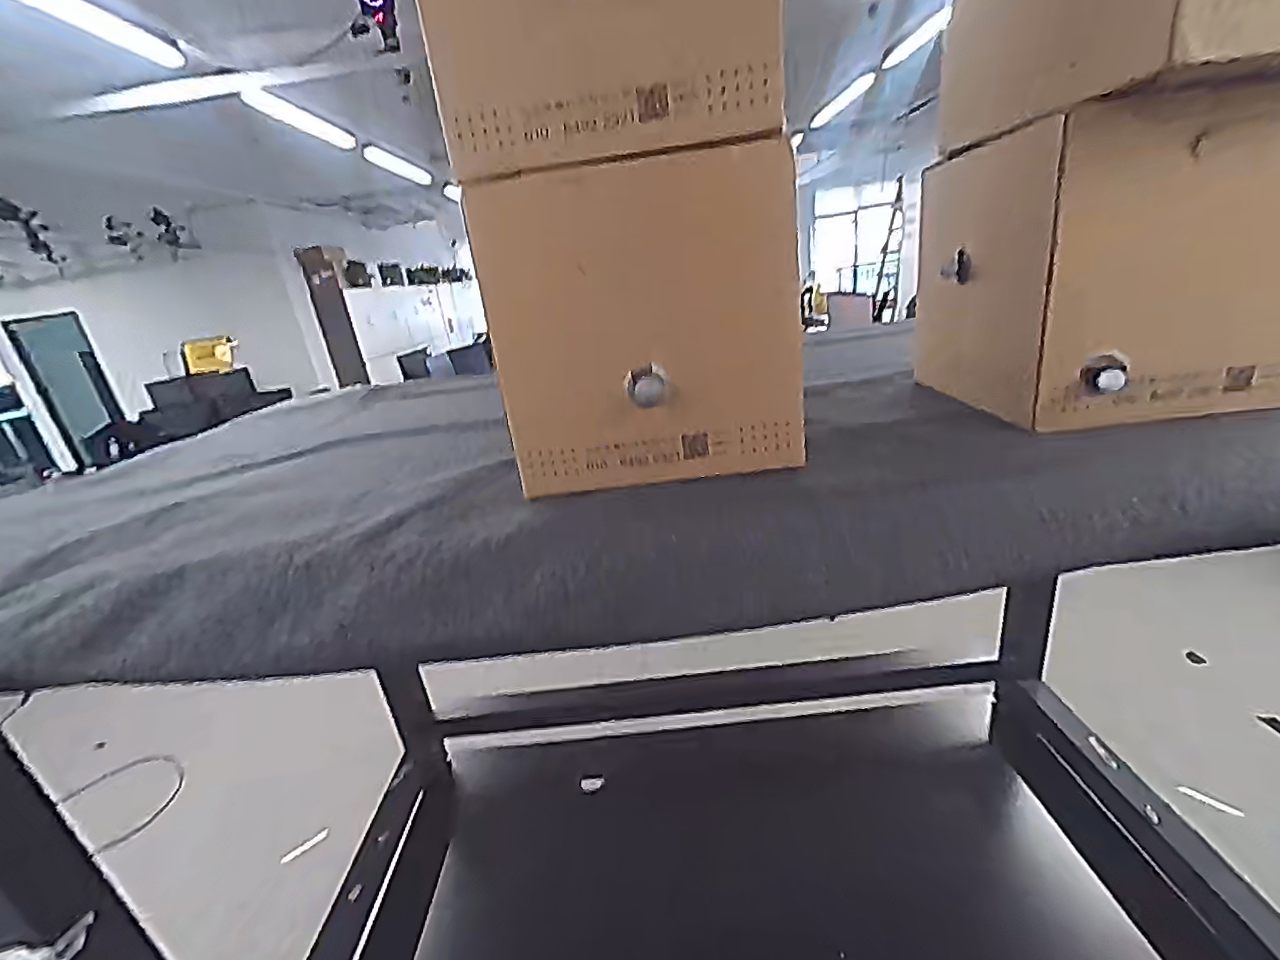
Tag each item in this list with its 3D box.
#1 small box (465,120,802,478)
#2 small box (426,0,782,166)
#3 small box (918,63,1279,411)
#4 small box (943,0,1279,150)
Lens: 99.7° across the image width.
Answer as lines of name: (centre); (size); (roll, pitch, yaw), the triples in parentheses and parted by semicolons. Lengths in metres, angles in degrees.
small box: (0.005, -0.109, 0.363); (0.168, 0.176, 0.179); (-7, 18, 4)
small box: (-0.015, -0.264, 0.312); (0.168, 0.176, 0.179); (-5, 19, 6)
small box: (0.302, -0.145, 0.355); (0.168, 0.176, 0.179); (-6, 19, 6)
small box: (0.281, -0.285, 0.270); (0.168, 0.176, 0.179); (-7, 19, 0)
